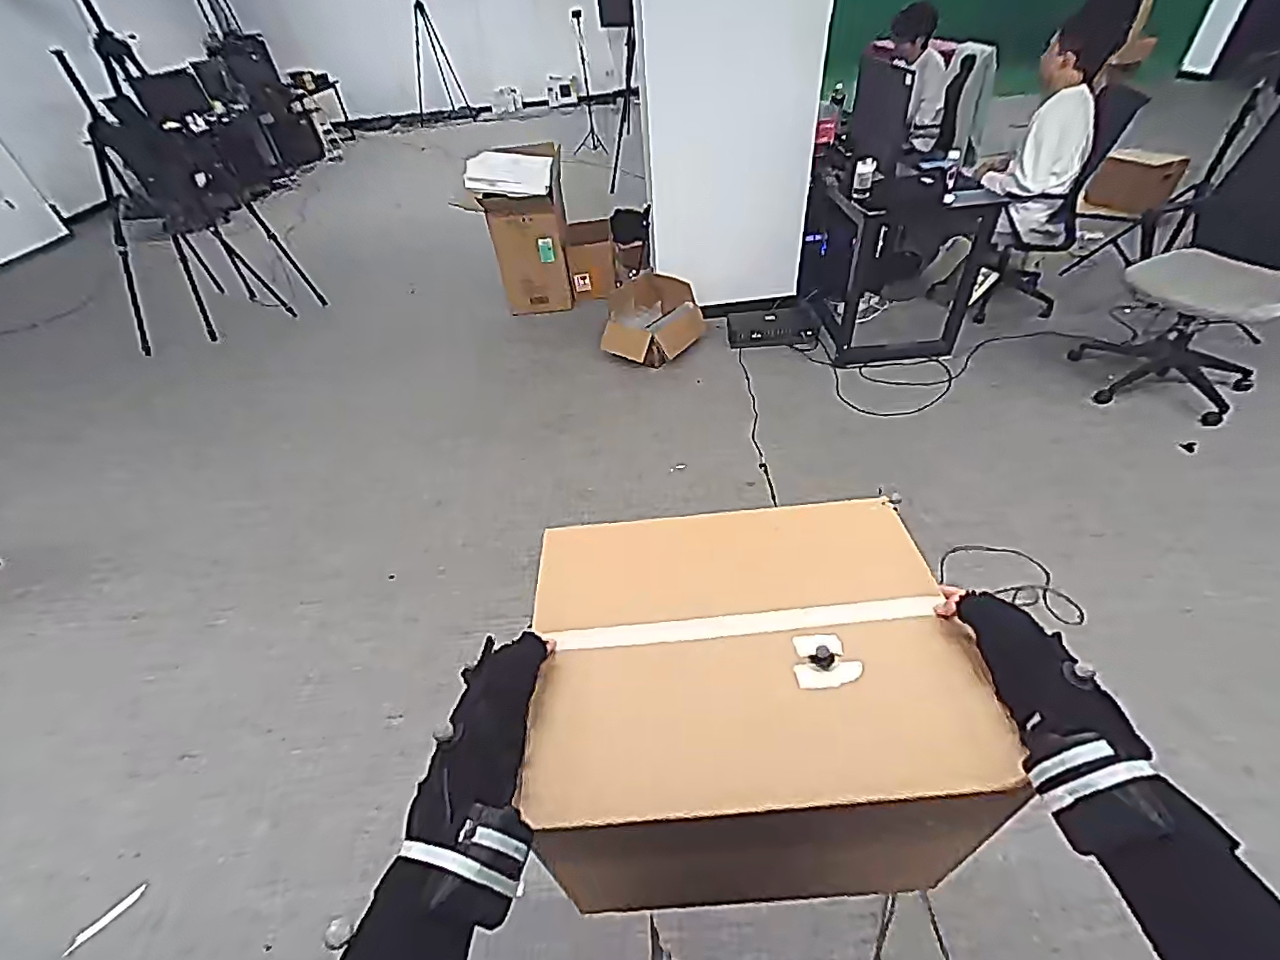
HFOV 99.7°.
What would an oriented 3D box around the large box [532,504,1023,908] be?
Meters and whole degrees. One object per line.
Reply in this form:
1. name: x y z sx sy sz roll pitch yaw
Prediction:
1. large box: 0.112 0.261 0.636 0.408 0.320 0.320 -6 41 1
